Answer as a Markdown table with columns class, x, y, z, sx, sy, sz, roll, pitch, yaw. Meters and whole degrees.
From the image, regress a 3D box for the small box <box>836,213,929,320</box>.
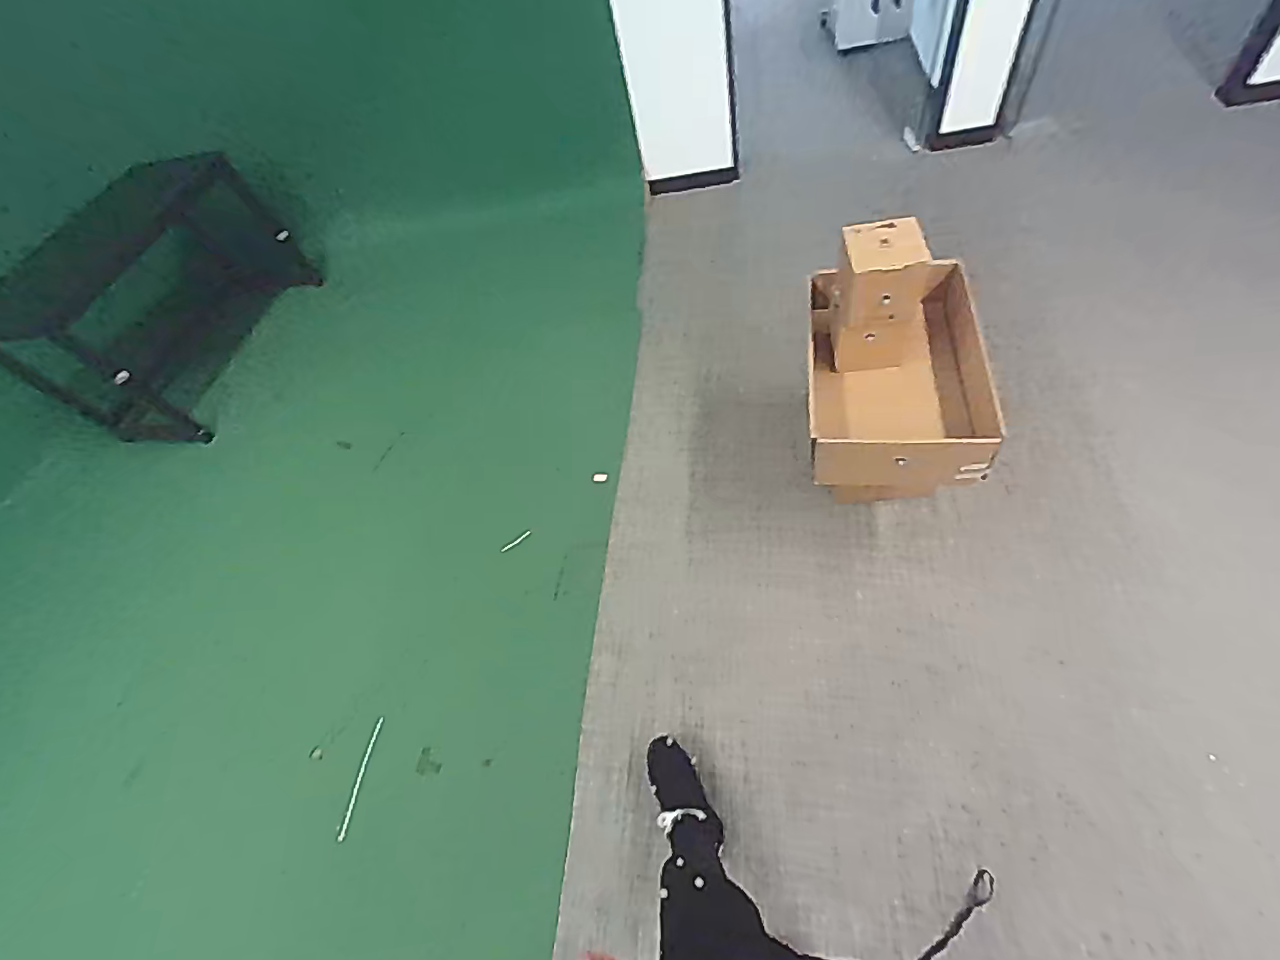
| class | x | y | z | sx | sy | sz | roll | pitch | yaw |
| --- | --- | --- | --- | --- | --- | --- | --- | --- | --- |
| small box | 0.578 | -0.506 | 1.309 | 0.168 | 0.176 | 0.179 | -4 | 58 | 11 |
